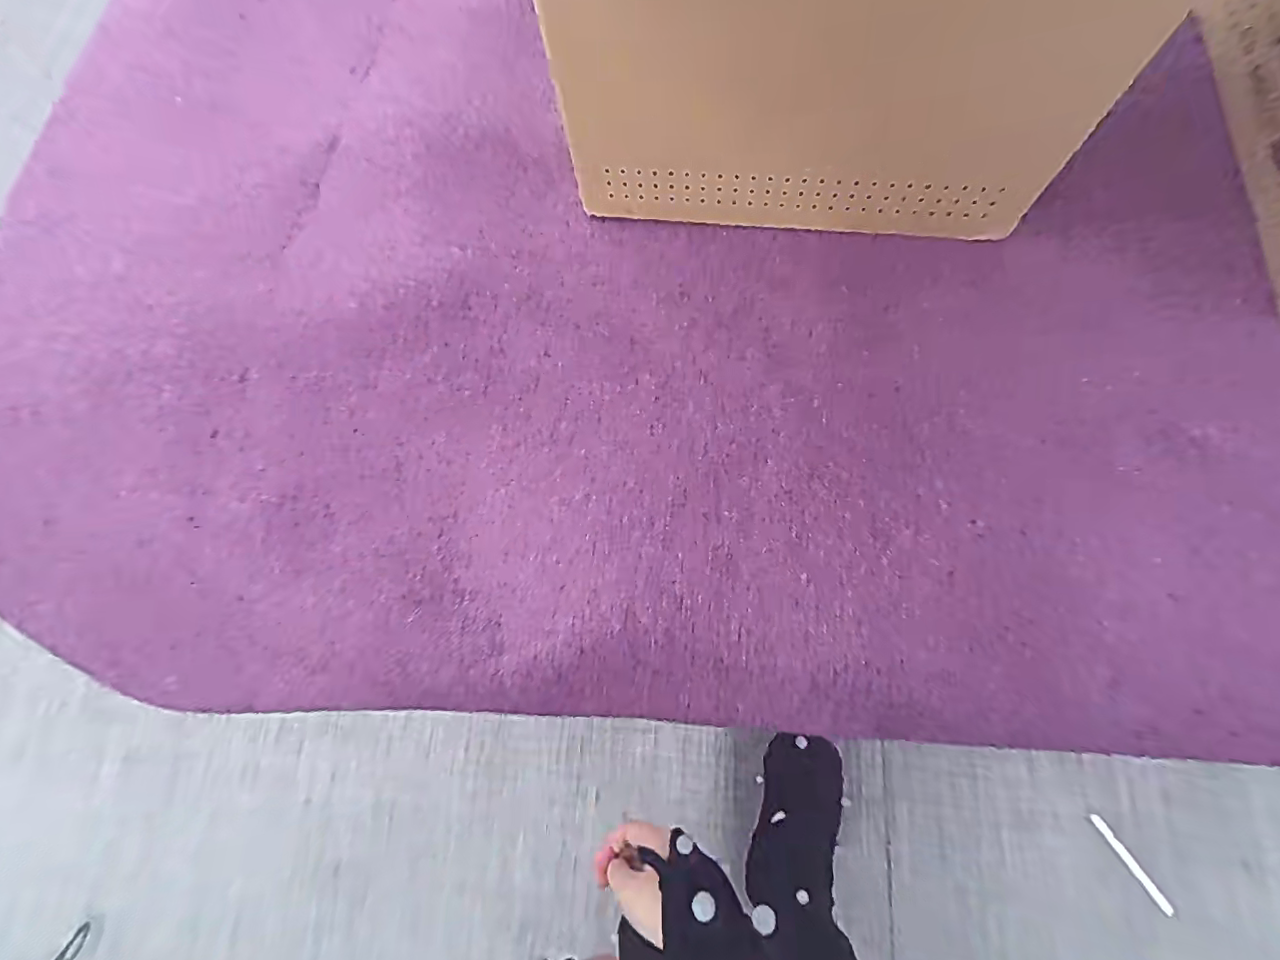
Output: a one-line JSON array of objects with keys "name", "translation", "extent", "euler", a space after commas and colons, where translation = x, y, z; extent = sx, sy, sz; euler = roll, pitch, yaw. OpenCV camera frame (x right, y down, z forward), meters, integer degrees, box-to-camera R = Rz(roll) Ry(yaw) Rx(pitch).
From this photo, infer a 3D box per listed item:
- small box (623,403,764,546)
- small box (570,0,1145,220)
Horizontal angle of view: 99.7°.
[{"name": "small box", "translation": [0.075, 0.000, 0.765], "extent": [0.179, 0.176, 0.168], "euler": [2, 76, 6]}, {"name": "small box", "translation": [0.071, -0.213, 0.177], "extent": [0.179, 0.176, 0.168], "euler": [7, 74, 6]}]
